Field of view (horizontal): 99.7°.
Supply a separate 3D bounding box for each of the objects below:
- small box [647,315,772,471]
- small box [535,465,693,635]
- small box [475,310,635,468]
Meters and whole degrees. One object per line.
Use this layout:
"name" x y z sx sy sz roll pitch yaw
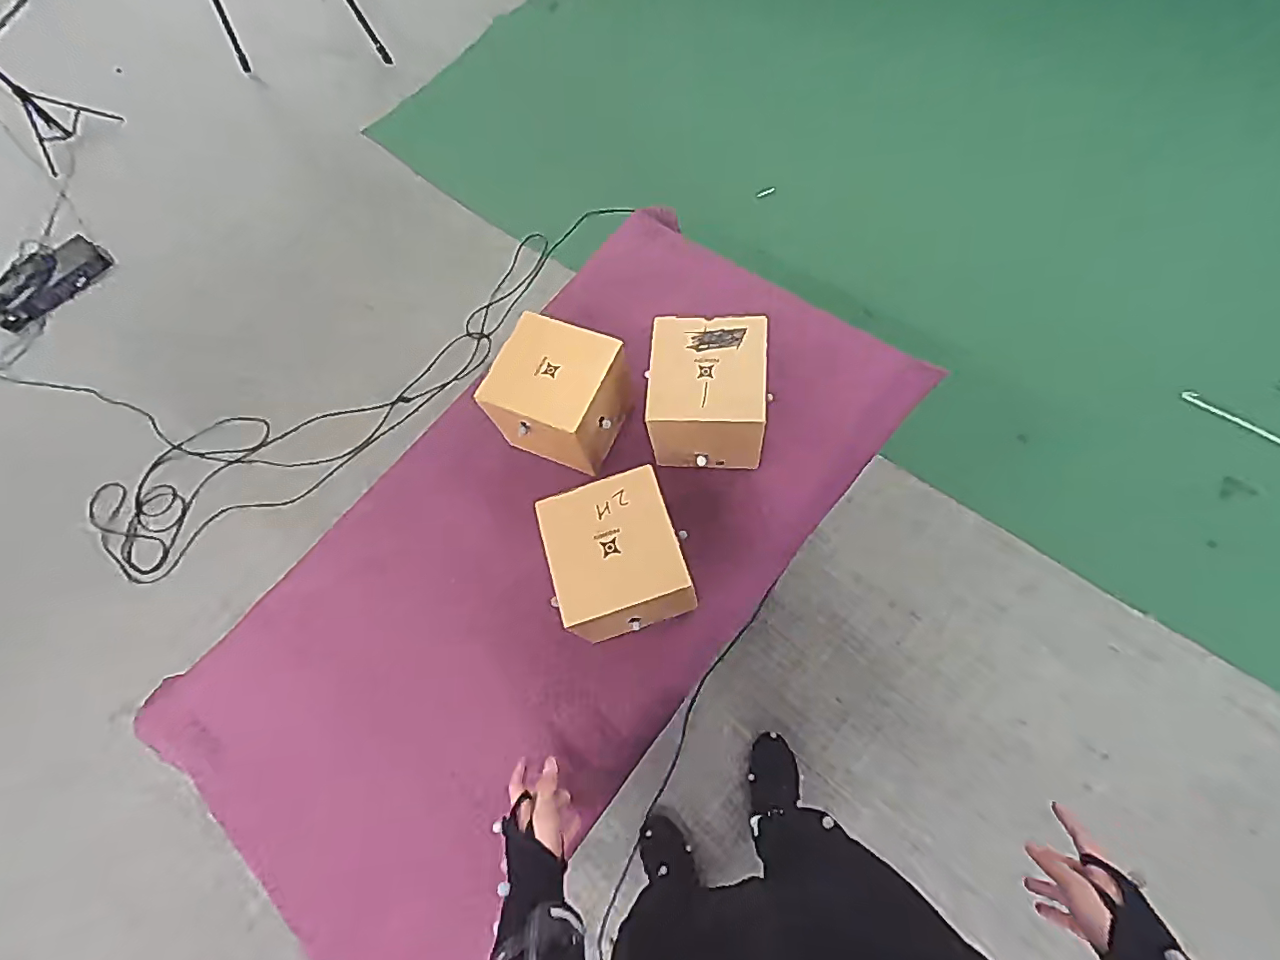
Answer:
"small box" 0.108 -0.129 0.829 0.168 0.176 0.179 3 70 10
"small box" -0.028 0.108 0.751 0.168 0.176 0.179 -18 67 0
"small box" -0.122 -0.136 0.867 0.179 0.176 0.168 21 73 15
